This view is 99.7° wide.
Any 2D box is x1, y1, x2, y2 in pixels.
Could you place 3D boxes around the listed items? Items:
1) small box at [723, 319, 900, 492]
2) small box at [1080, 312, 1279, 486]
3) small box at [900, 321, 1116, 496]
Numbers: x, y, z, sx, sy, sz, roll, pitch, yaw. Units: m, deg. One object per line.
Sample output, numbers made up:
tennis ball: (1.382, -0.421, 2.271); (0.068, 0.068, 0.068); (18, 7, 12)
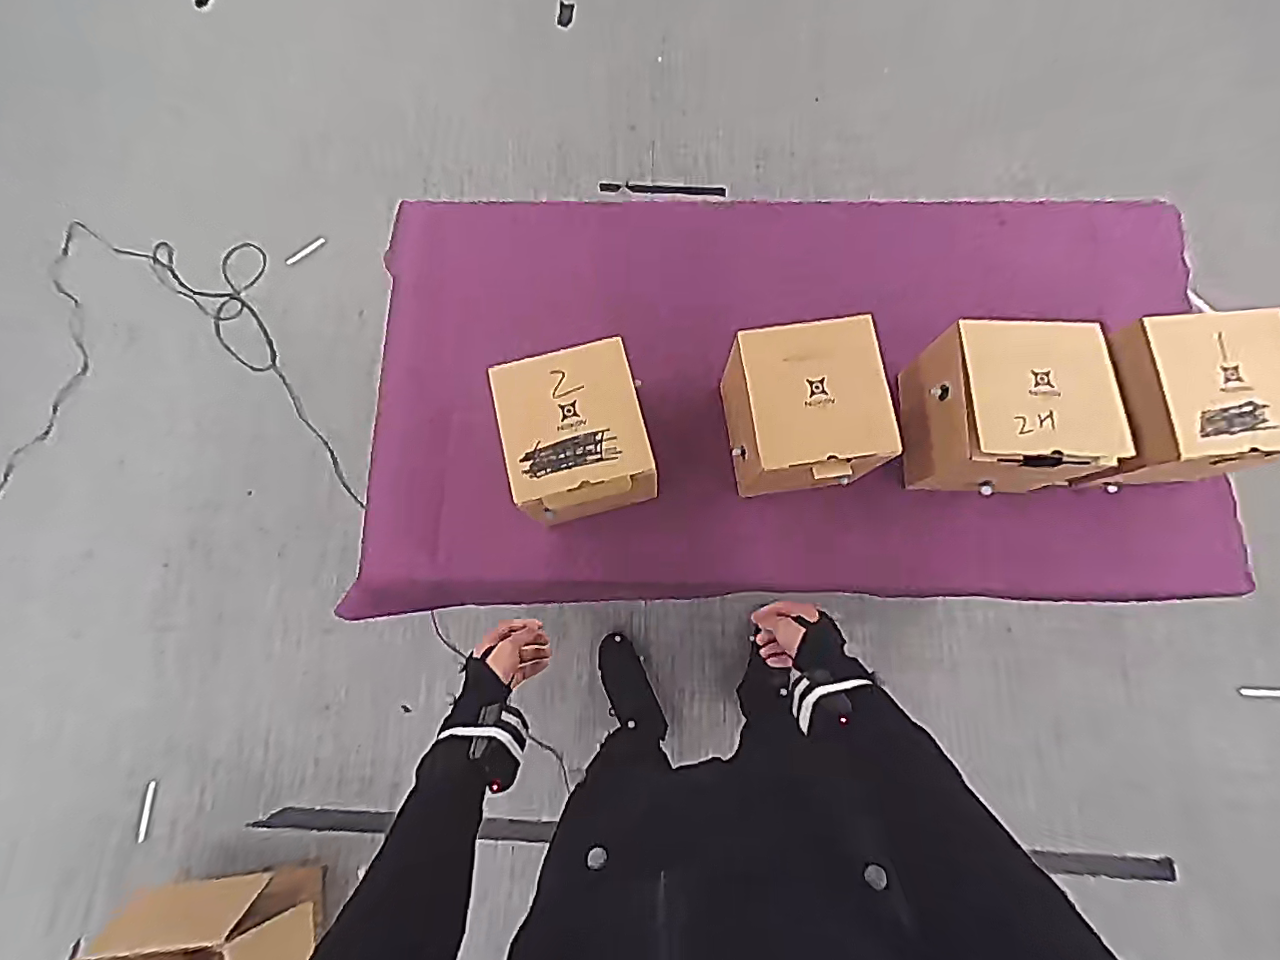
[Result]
small box: (0.209, -0.084, 0.709); (0.168, 0.176, 0.179); (-7, 77, -1)
small box: (0.676, -0.092, 0.697); (0.168, 0.176, 0.179); (-3, 77, 1)
small box: (0.456, -0.084, 0.701); (0.168, 0.176, 0.179); (2, 78, 2)
